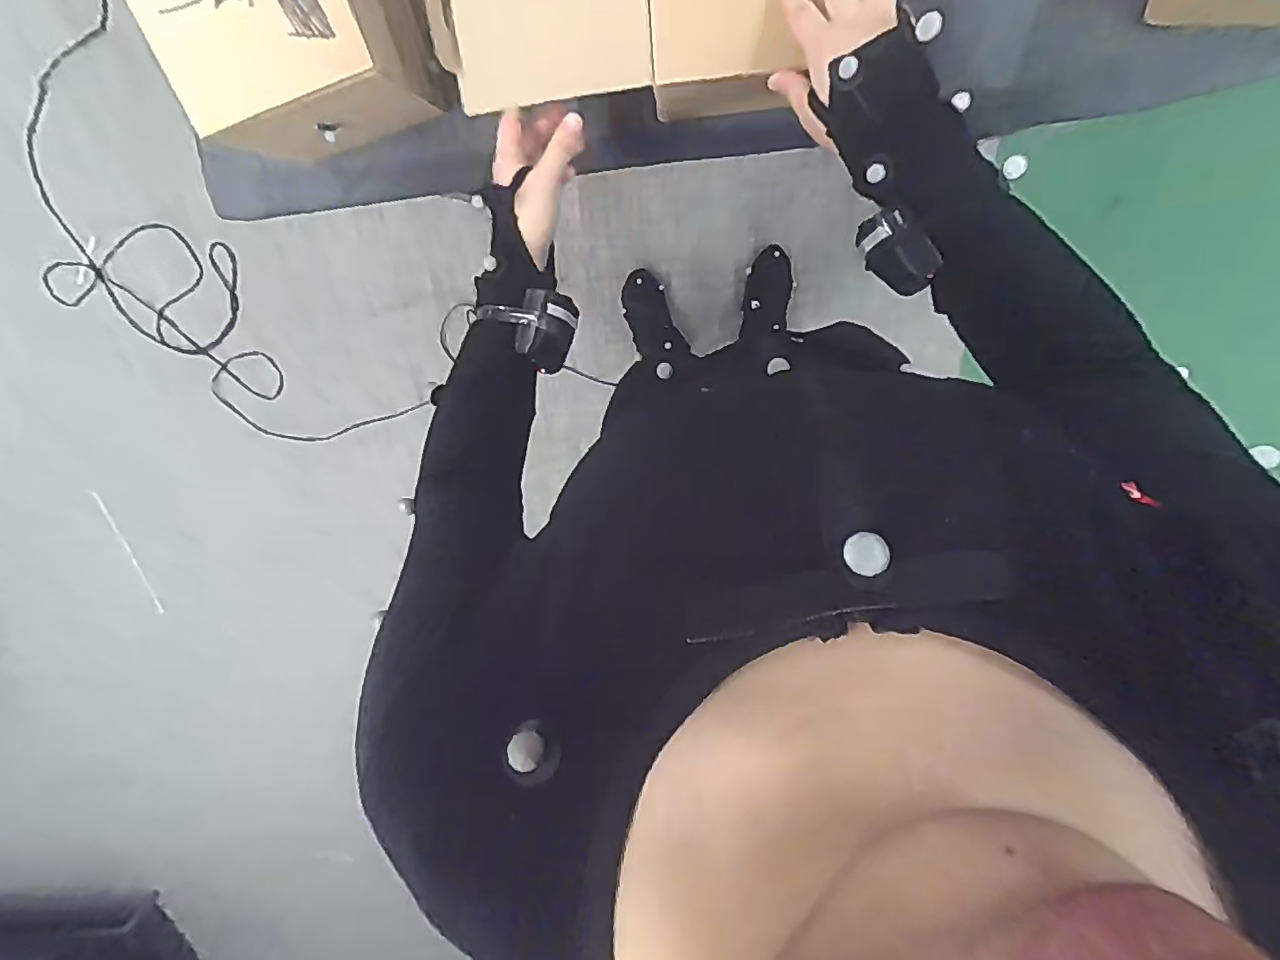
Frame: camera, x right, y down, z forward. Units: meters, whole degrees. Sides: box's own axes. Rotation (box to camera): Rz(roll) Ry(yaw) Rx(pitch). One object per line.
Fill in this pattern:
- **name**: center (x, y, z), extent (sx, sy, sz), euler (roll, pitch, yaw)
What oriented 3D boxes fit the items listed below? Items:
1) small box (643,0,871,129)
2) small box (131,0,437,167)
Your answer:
- **small box**: center (0.093, -0.427, 0.479), extent (0.179, 0.176, 0.168), euler (-3, 114, 4)
- **small box**: center (-0.314, -0.413, 0.503), extent (0.179, 0.176, 0.168), euler (-14, 113, 9)
